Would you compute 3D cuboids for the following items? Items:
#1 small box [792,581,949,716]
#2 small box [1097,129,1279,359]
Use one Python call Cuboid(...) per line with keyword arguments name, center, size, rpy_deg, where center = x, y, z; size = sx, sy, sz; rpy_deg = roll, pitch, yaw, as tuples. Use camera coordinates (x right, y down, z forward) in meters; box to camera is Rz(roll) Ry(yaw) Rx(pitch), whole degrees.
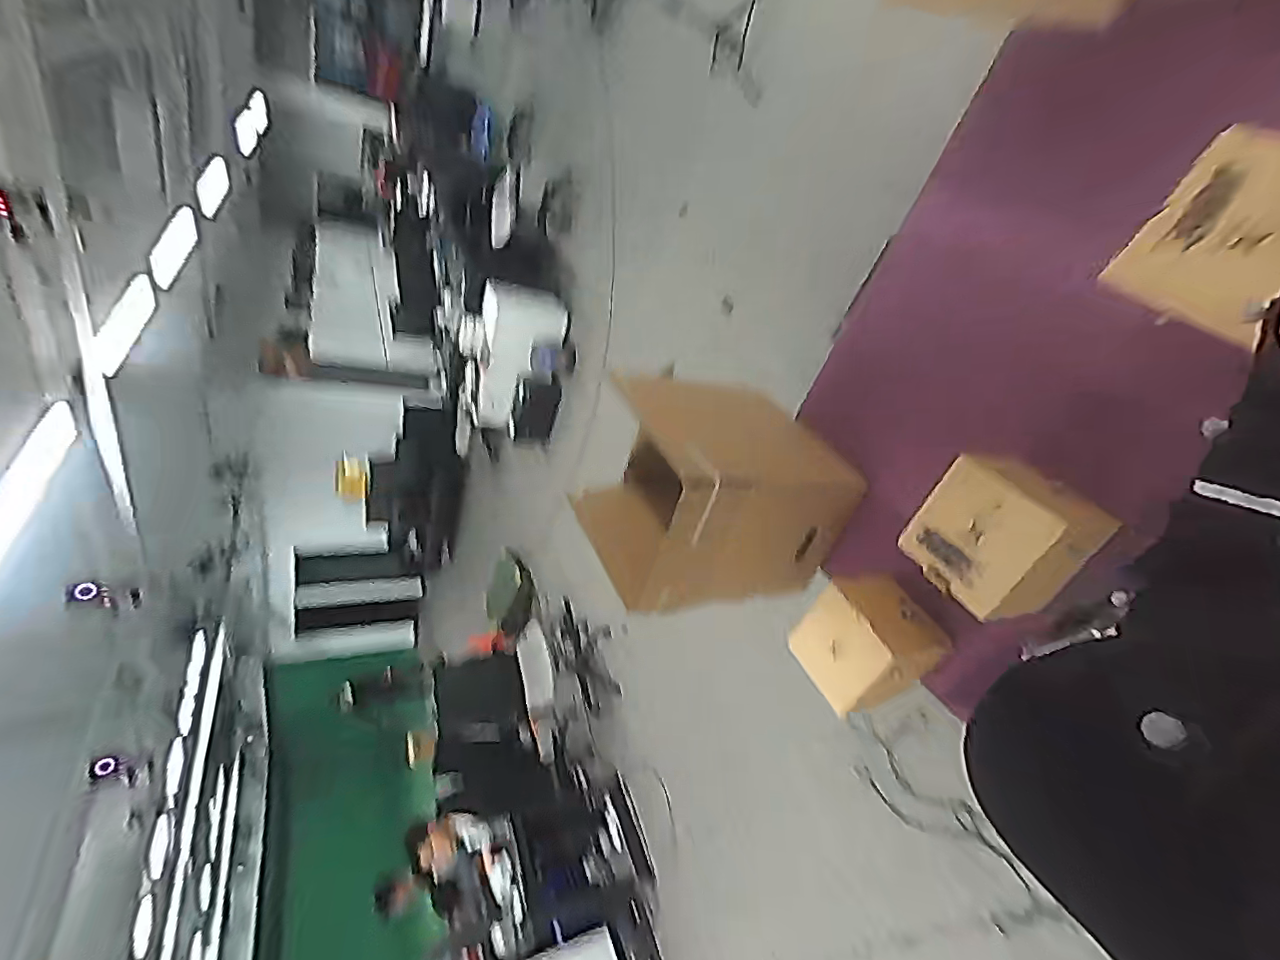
Cuboid(name="small box", center=(0.427, 0.307, 1.007), size=(0.168, 0.176, 0.179), rpy_deg=(57, 135, 44))
Cuboid(name="small box", center=(0.676, -0.247, 0.590), size=(0.179, 0.176, 0.168), rpy_deg=(60, 139, 41))
